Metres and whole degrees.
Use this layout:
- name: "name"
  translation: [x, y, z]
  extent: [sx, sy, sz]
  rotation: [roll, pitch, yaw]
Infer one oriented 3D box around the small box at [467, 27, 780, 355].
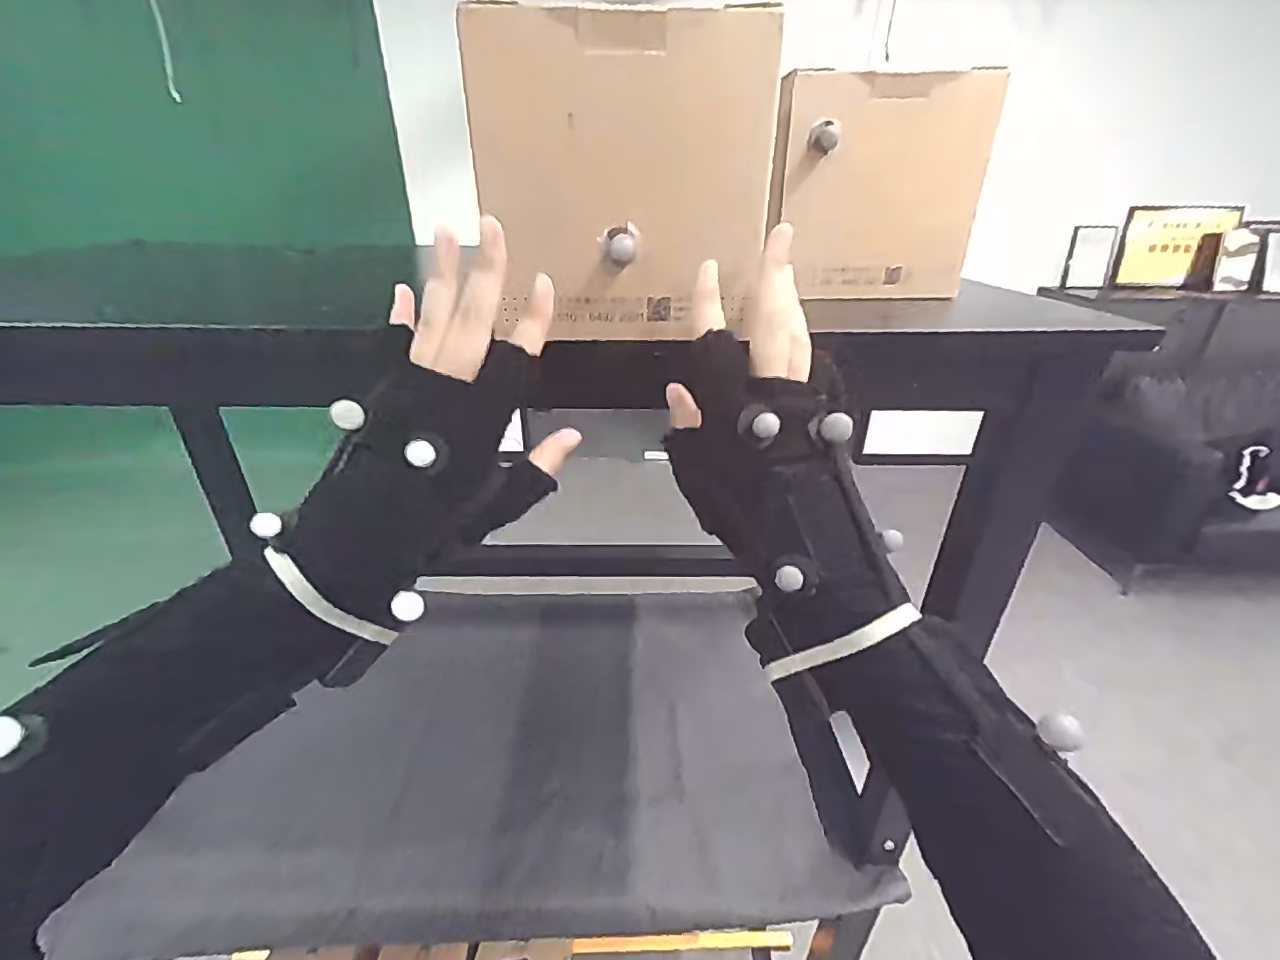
- name: "small box"
  translation: [-0.010, -0.196, 0.387]
  extent: [0.168, 0.176, 0.179]
  rotation: [-1, 29, 0]
